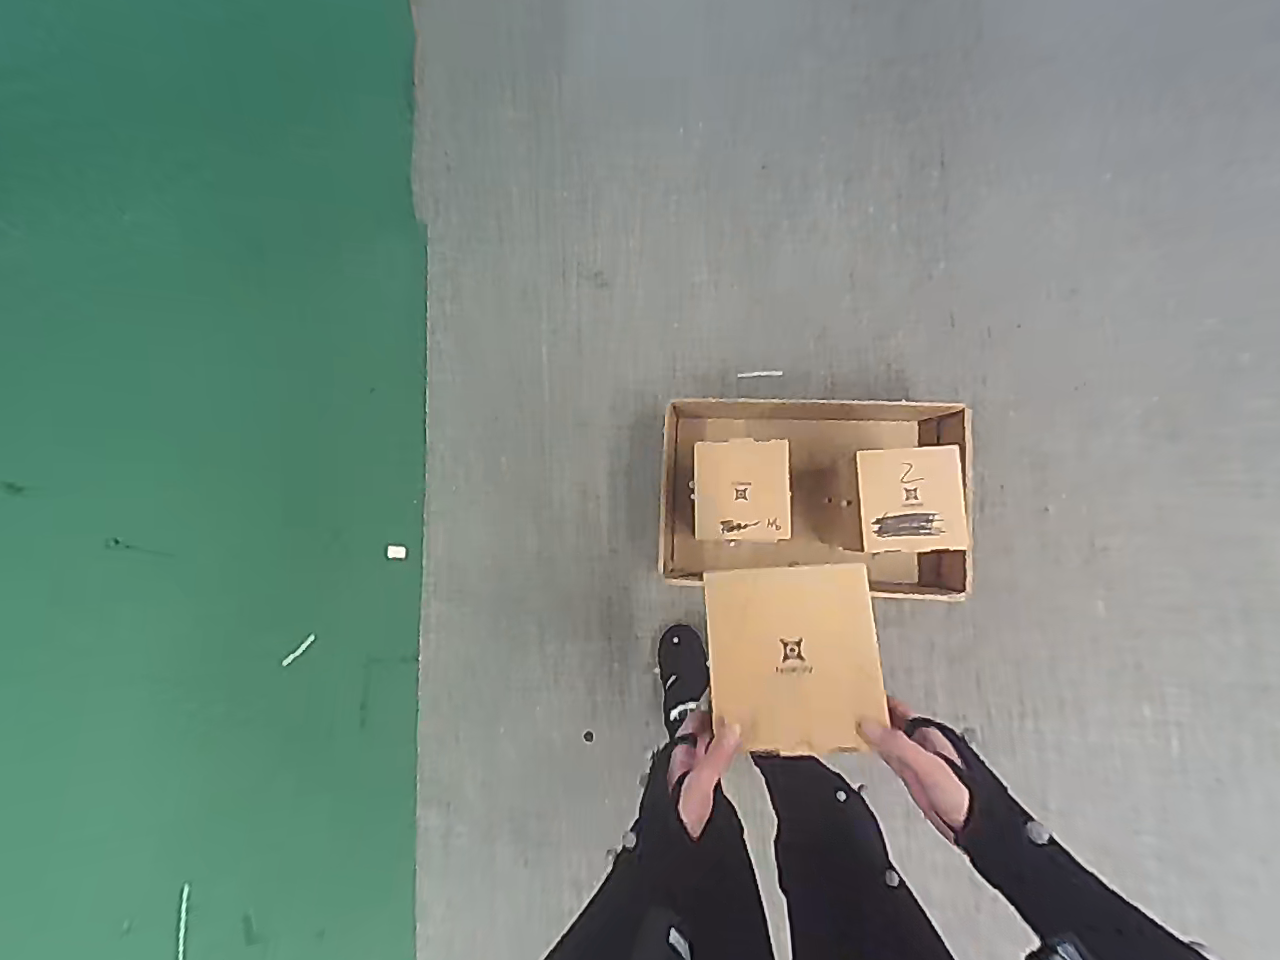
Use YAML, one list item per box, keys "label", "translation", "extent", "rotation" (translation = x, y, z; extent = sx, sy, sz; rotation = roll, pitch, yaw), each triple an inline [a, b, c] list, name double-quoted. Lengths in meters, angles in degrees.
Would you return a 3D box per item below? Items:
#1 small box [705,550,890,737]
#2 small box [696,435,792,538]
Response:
- label: "small box"
  translation: [0.160, 0.182, 0.609]
  extent: [0.168, 0.176, 0.179]
  rotation: [-4, 74, 7]
- label: "small box"
  translation: [0.191, 0.019, 1.014]
  extent: [0.168, 0.176, 0.179]
  rotation: [0, 83, 9]
